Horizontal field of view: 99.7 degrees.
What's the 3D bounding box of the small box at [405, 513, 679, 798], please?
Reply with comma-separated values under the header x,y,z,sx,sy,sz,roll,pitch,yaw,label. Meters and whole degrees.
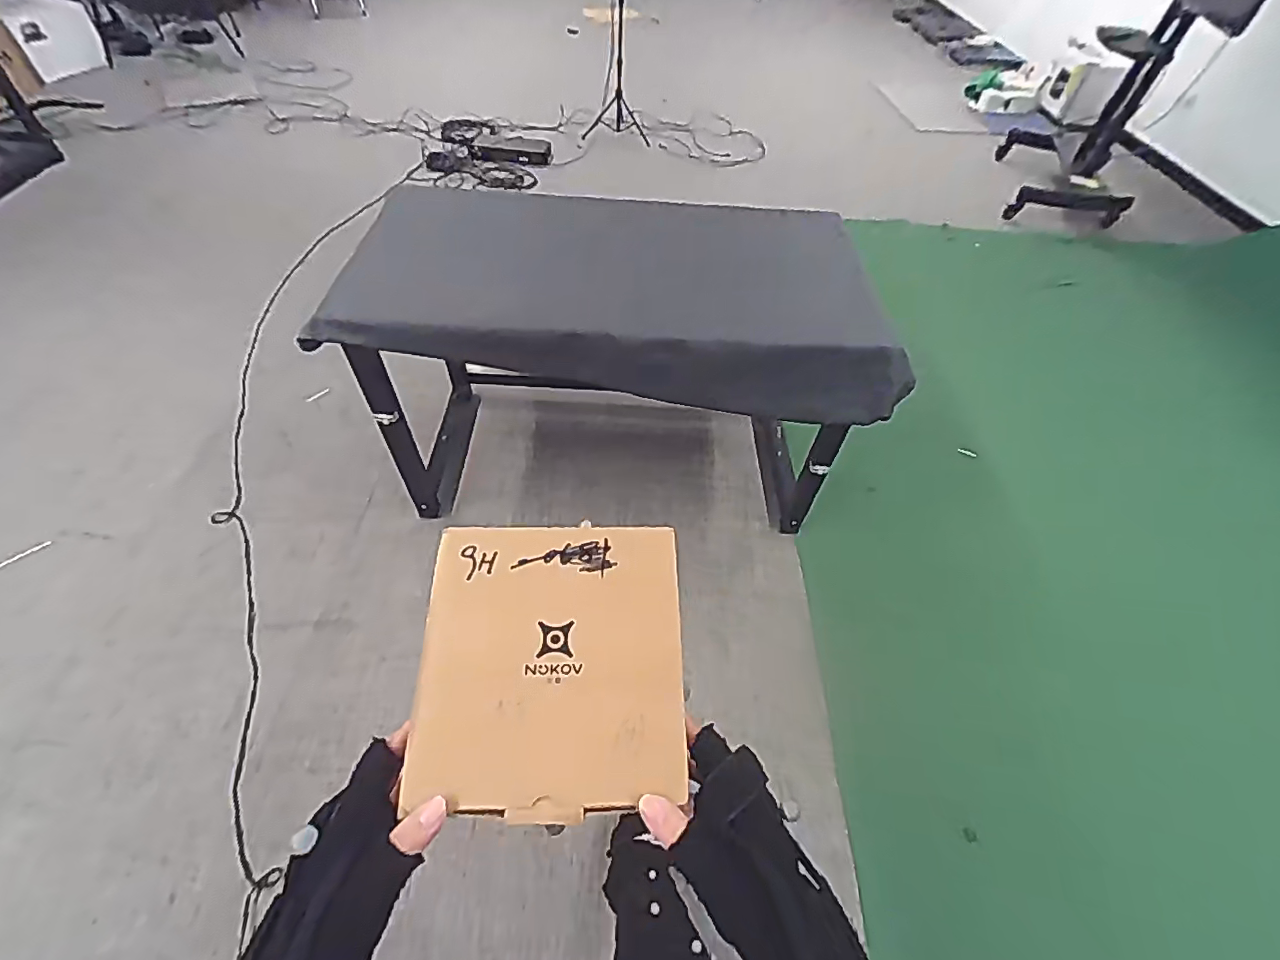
x,y,z,sx,sy,sz,roll,pitch,yaw,label
-0.060,0.137,0.422,0.168,0.176,0.179,-1,64,-3,small box
